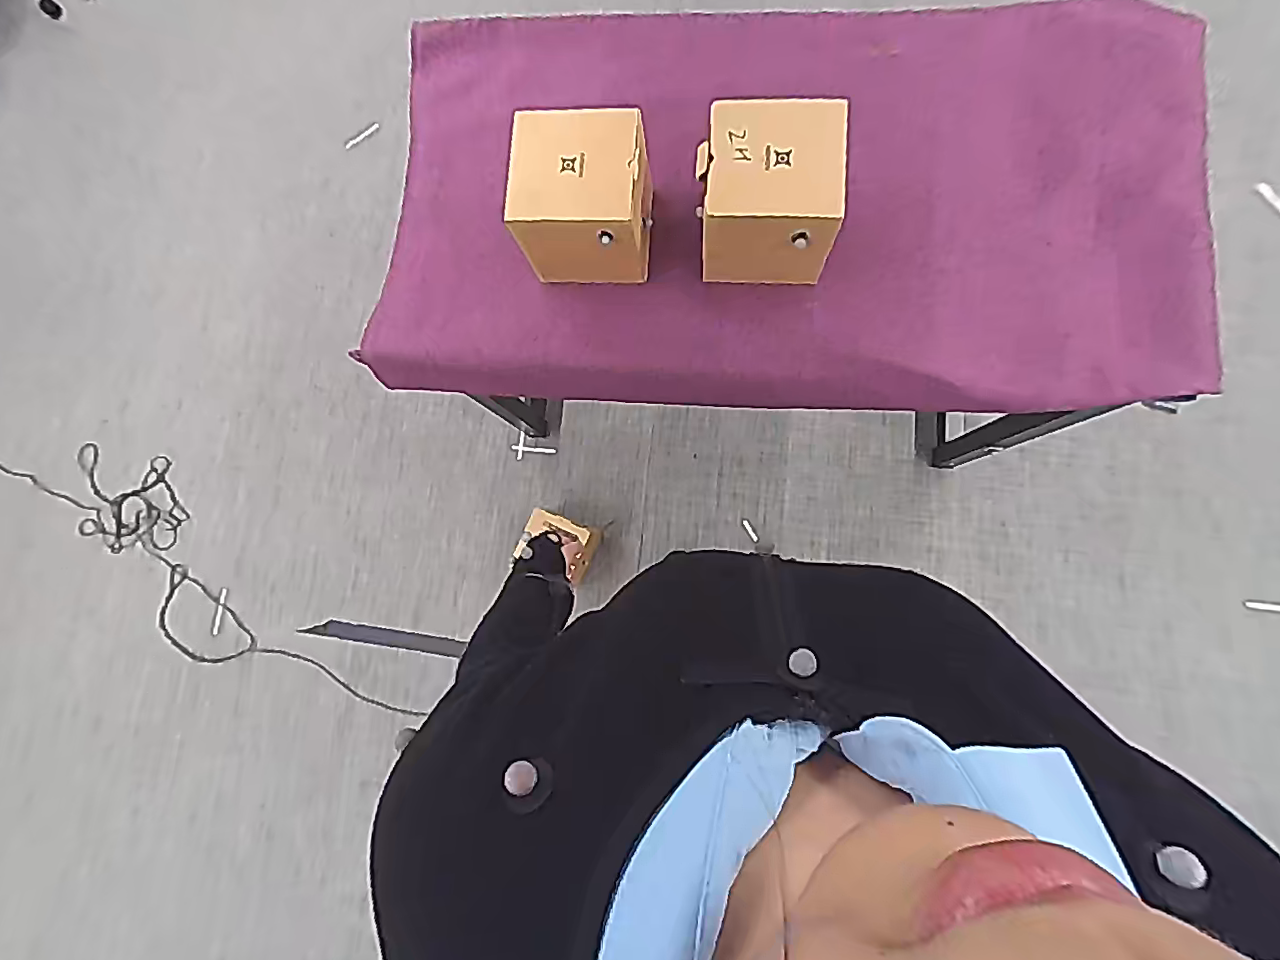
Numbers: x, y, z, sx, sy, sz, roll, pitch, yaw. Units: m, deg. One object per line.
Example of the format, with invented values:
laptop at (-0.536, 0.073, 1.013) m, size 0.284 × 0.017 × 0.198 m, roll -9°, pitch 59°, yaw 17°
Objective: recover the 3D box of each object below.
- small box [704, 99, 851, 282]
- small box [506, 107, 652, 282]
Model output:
small box at (0.185, -0.397, 0.765) m, size 0.179 × 0.176 × 0.168 m, roll 4°, pitch 82°, yaw 8°
small box at (-0.080, -0.409, 0.799) m, size 0.179 × 0.176 × 0.168 m, roll 2°, pitch 82°, yaw 6°
